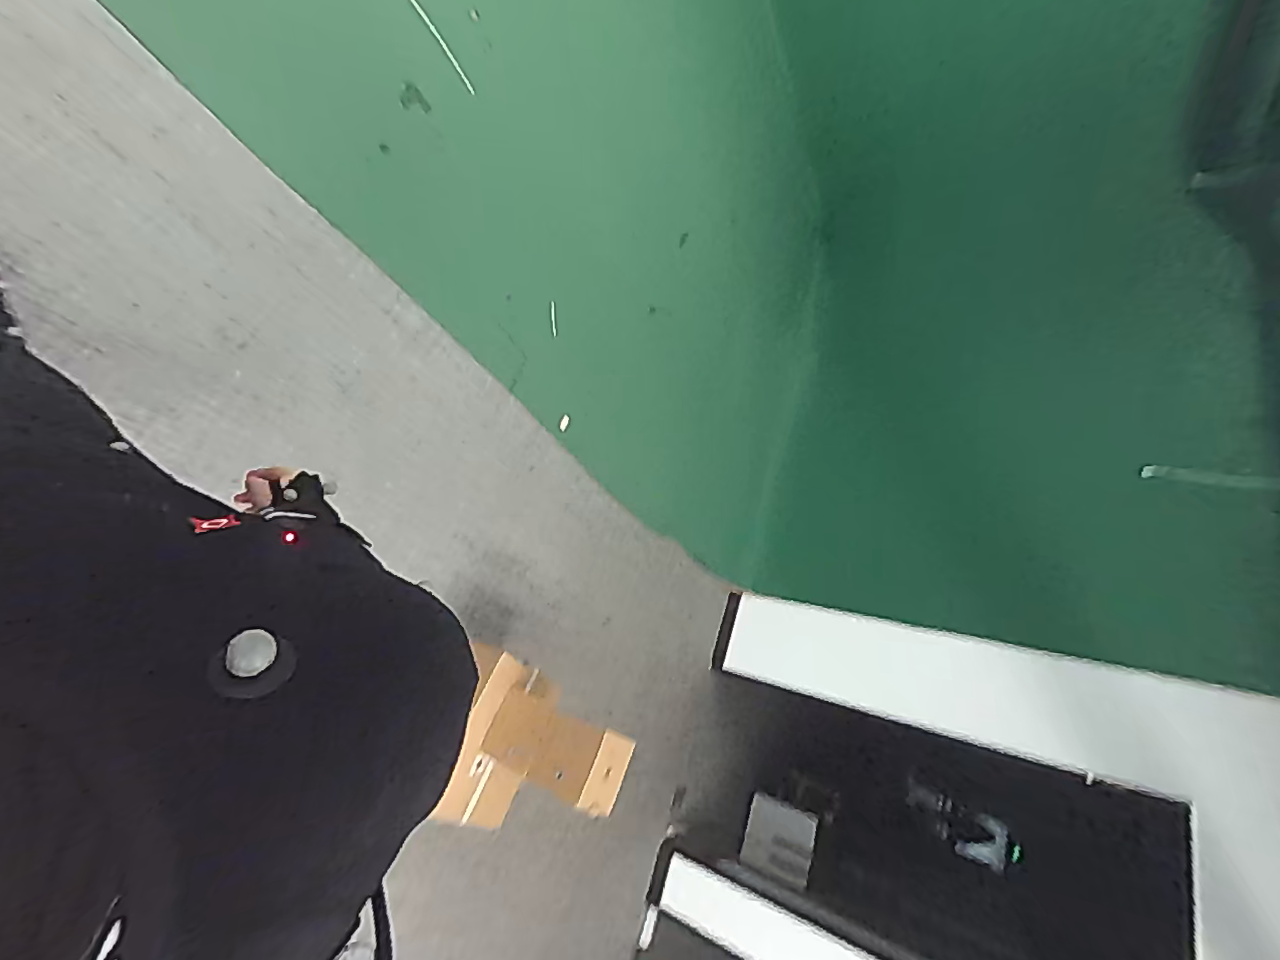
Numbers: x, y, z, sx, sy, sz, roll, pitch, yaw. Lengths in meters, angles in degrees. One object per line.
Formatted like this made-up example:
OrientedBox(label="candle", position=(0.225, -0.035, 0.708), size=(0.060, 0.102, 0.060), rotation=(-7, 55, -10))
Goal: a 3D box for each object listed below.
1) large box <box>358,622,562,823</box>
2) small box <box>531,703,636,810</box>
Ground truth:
OrientedBox(label="large box", position=(-0.497, 0.677, 1.543), size=(0.320, 0.320, 0.408), rotation=(53, 54, -43))
OrientedBox(label="small box", position=(-0.142, 0.682, 1.340), size=(0.168, 0.176, 0.179), rotation=(51, 54, -47))
